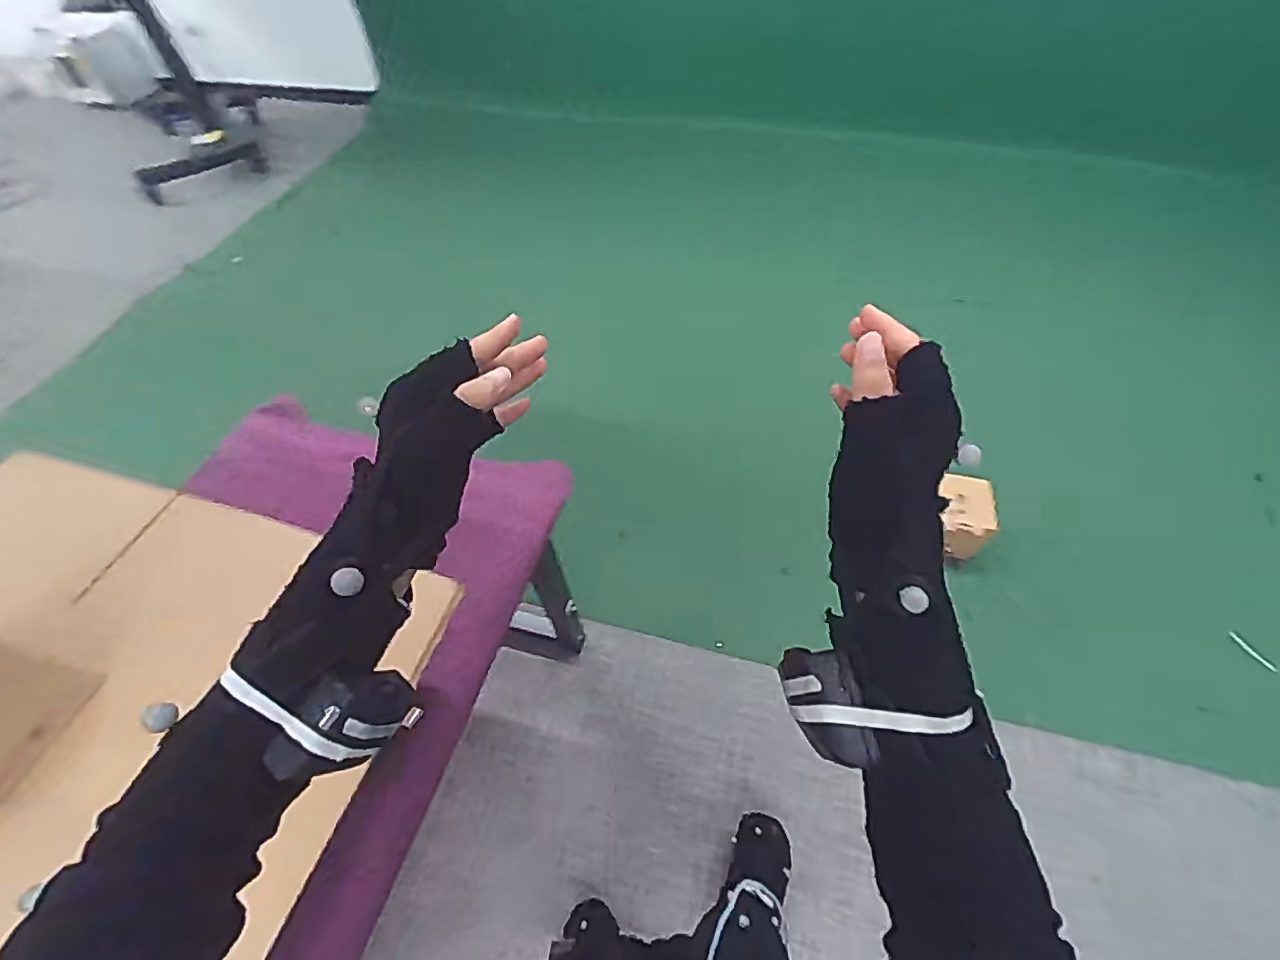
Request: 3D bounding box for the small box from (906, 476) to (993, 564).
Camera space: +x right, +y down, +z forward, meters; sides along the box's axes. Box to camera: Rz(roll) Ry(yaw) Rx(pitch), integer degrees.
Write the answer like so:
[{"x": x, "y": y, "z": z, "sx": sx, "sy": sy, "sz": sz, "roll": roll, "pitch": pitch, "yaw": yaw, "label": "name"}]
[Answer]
[{"x": 0.890, "y": 0.117, "z": 1.574, "sx": 0.168, "sy": 0.176, "sz": 0.179, "roll": 10, "pitch": 55, "yaw": 10, "label": "small box"}]
